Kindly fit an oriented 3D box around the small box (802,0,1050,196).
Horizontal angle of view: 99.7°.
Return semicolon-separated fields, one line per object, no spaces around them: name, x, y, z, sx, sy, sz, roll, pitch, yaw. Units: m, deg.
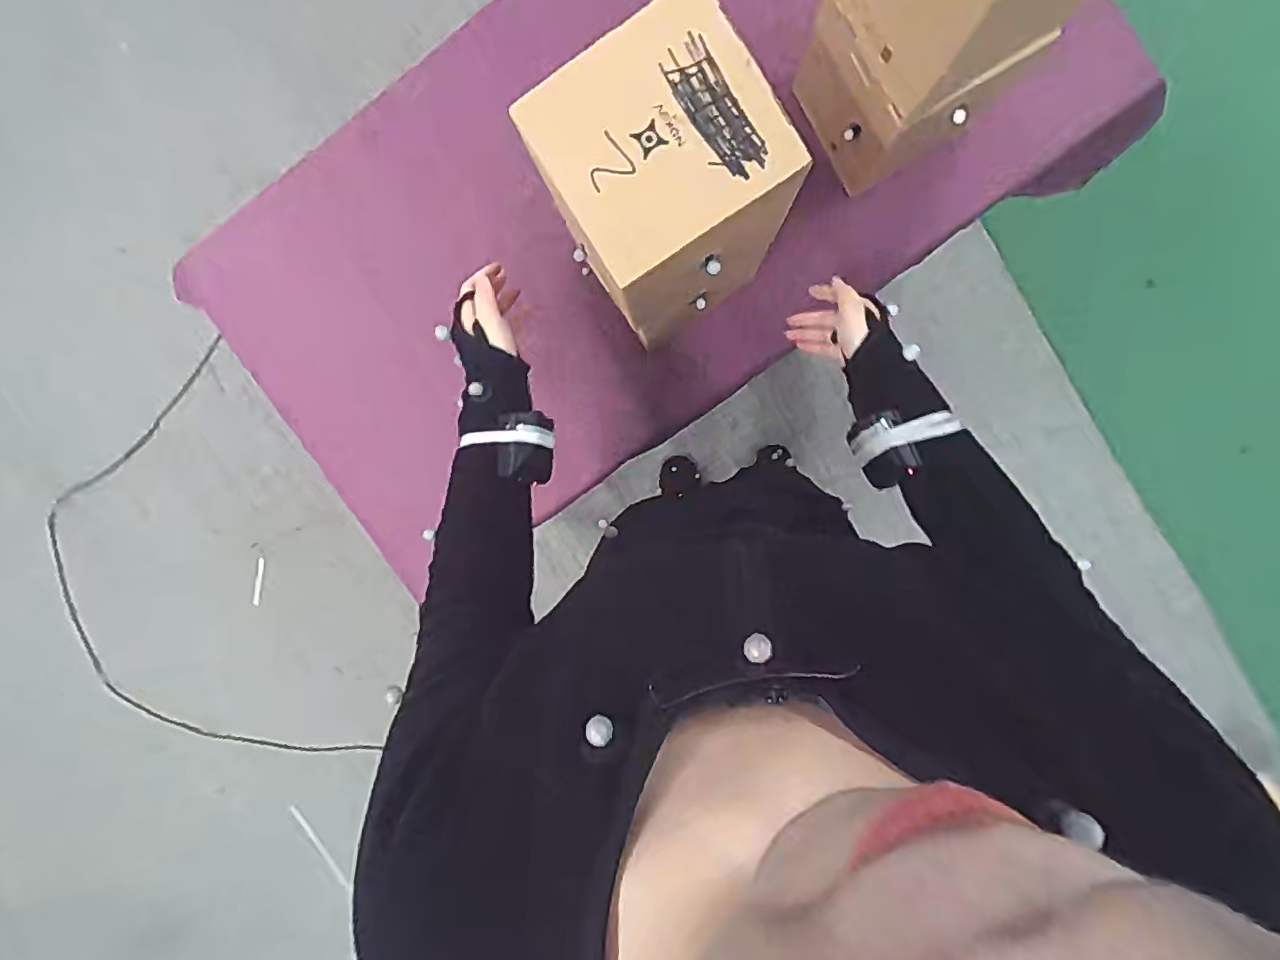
small box;0.306;-0.471;0.627;0.179;0.176;0.168;-28;93;5

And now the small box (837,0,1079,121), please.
small box;0.292;-0.464;0.466;0.179;0.176;0.168;-31;92;5

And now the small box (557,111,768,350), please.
small box;0.029;-0.281;0.658;0.179;0.176;0.168;-34;91;5
